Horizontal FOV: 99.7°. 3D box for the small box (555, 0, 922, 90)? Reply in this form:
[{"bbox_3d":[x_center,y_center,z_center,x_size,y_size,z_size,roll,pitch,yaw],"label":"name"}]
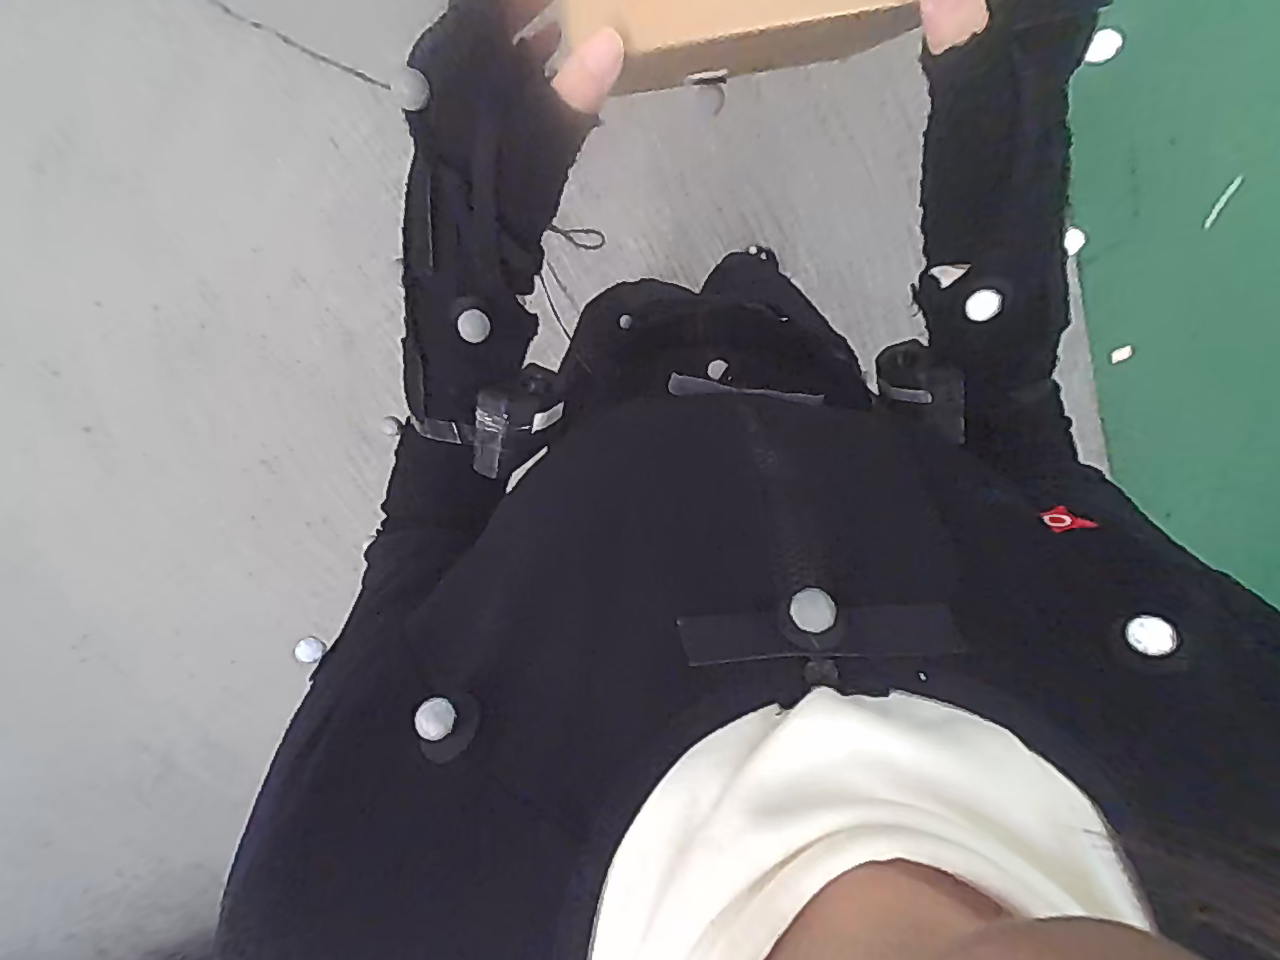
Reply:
[{"bbox_3d":[0.035,-0.293,0.230,0.168,0.176,0.179,-8,121,3],"label":"small box"}]
